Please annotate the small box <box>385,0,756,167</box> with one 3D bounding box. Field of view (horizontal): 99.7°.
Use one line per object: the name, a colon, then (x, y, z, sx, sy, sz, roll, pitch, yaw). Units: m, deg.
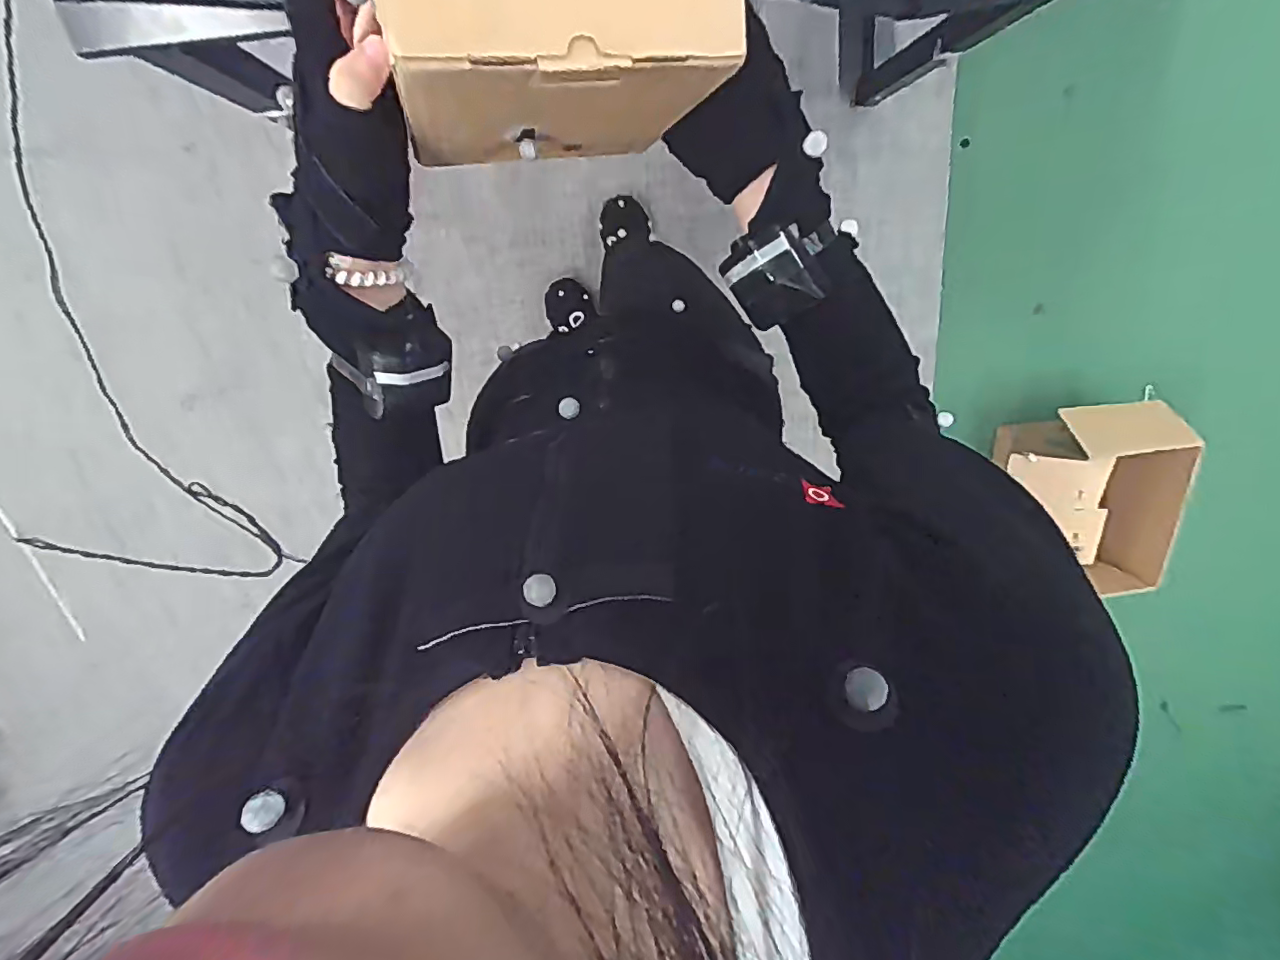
small box: (-0.055, -0.290, 0.292, 0.168, 0.176, 0.179, -13, 111, -16)
